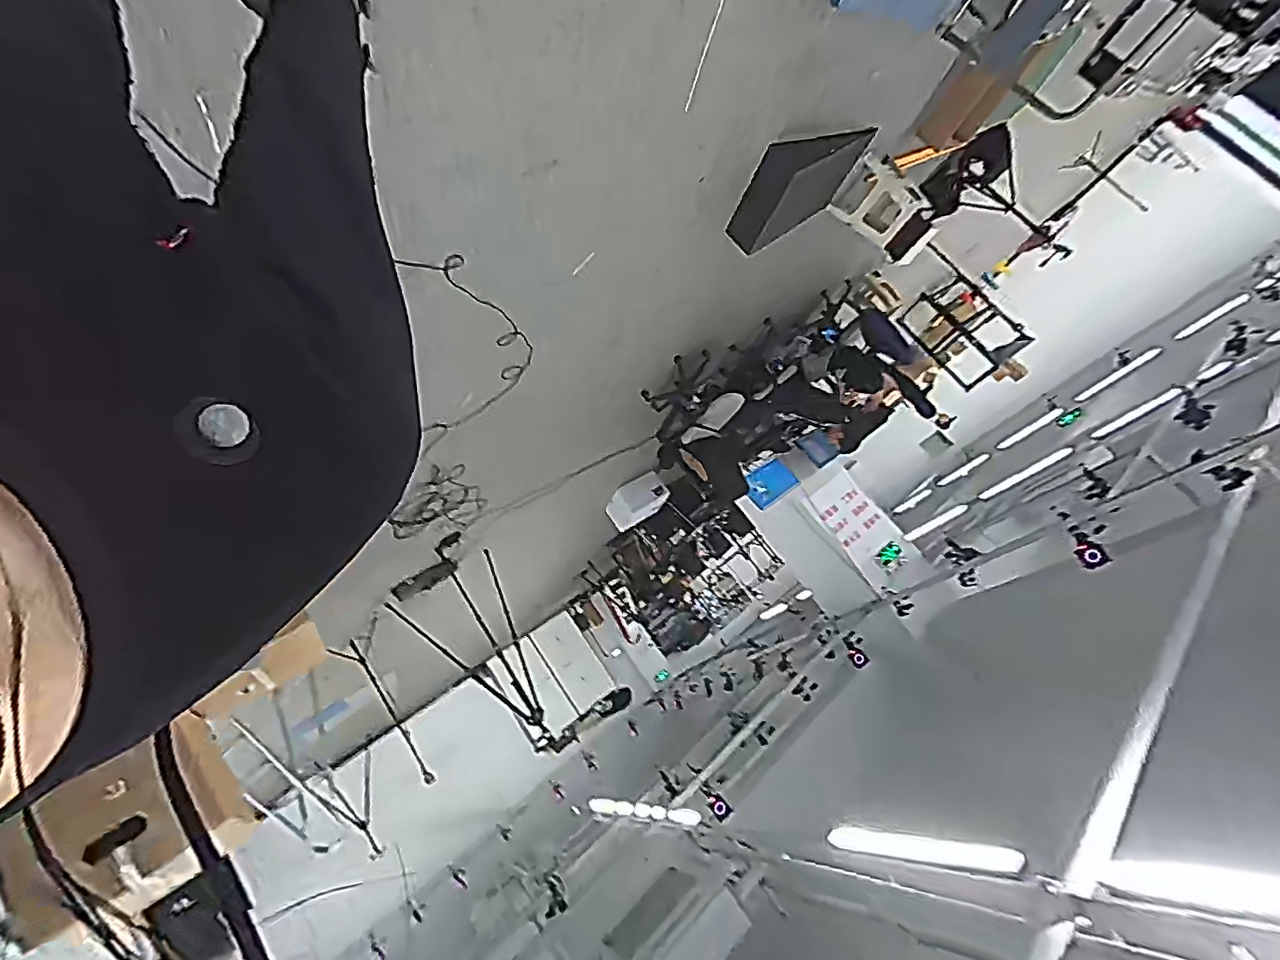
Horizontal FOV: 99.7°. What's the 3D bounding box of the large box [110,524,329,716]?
[{"bbox_3d":[-1.079,0.375,1.437,0.320,0.320,0.408,-27,164,-34],"label":"large box"}]
